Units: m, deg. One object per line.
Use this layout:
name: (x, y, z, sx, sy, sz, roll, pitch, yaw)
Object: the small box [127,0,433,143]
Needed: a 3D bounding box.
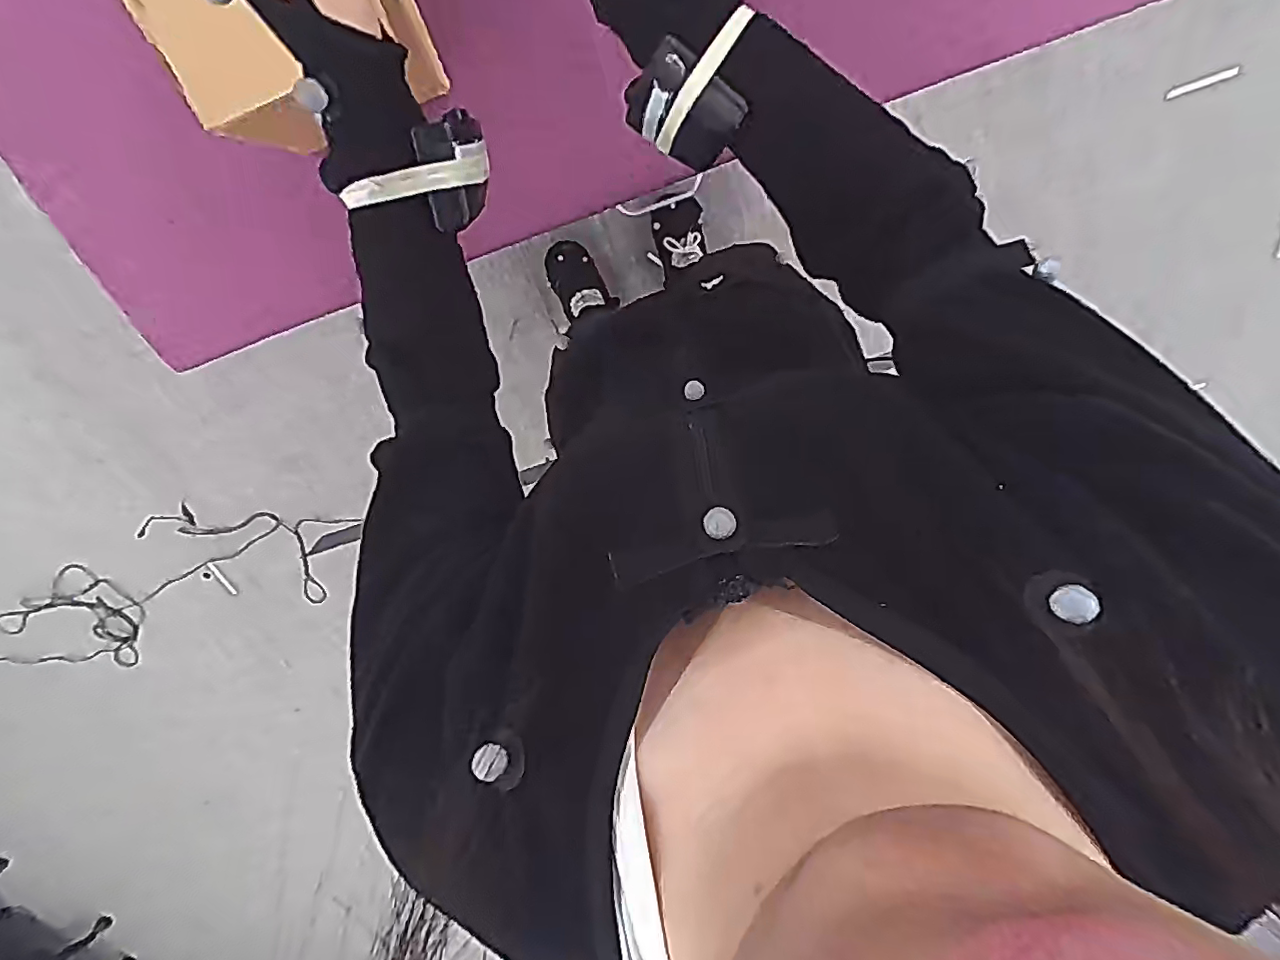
small box: (-0.299, -0.413, 0.461, 0.179, 0.176, 0.168, -19, 117, 6)
